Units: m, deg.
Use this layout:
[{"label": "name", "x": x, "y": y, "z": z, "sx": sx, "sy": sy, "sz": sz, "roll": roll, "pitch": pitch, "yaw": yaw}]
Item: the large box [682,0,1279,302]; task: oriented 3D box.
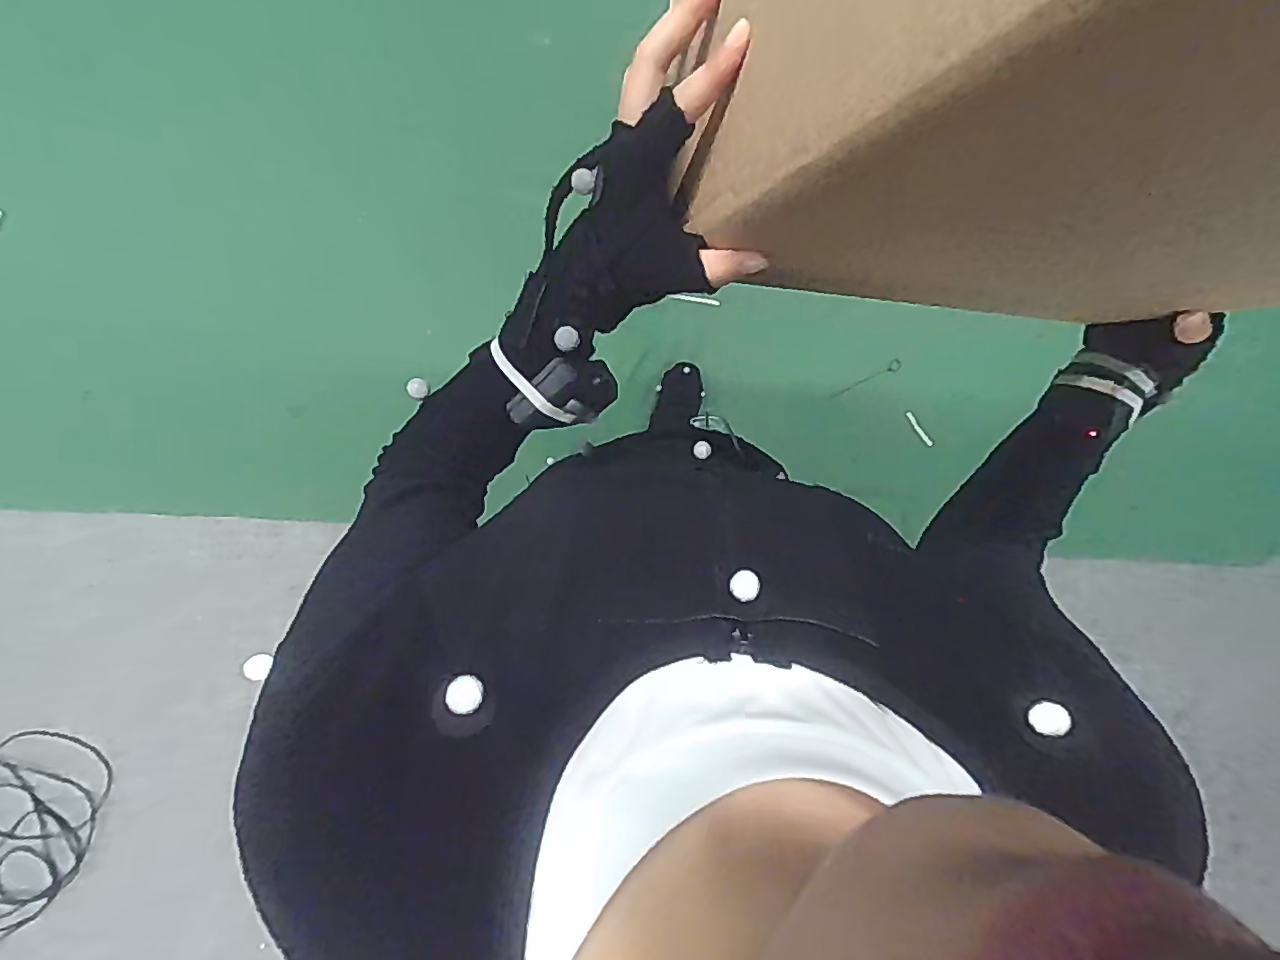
[{"label": "large box", "x": 0.258, "y": -0.270, "z": 0.243, "sx": 0.408, "sy": 0.320, "sz": 0.320, "roll": -1, "pitch": 101, "yaw": -18}]
